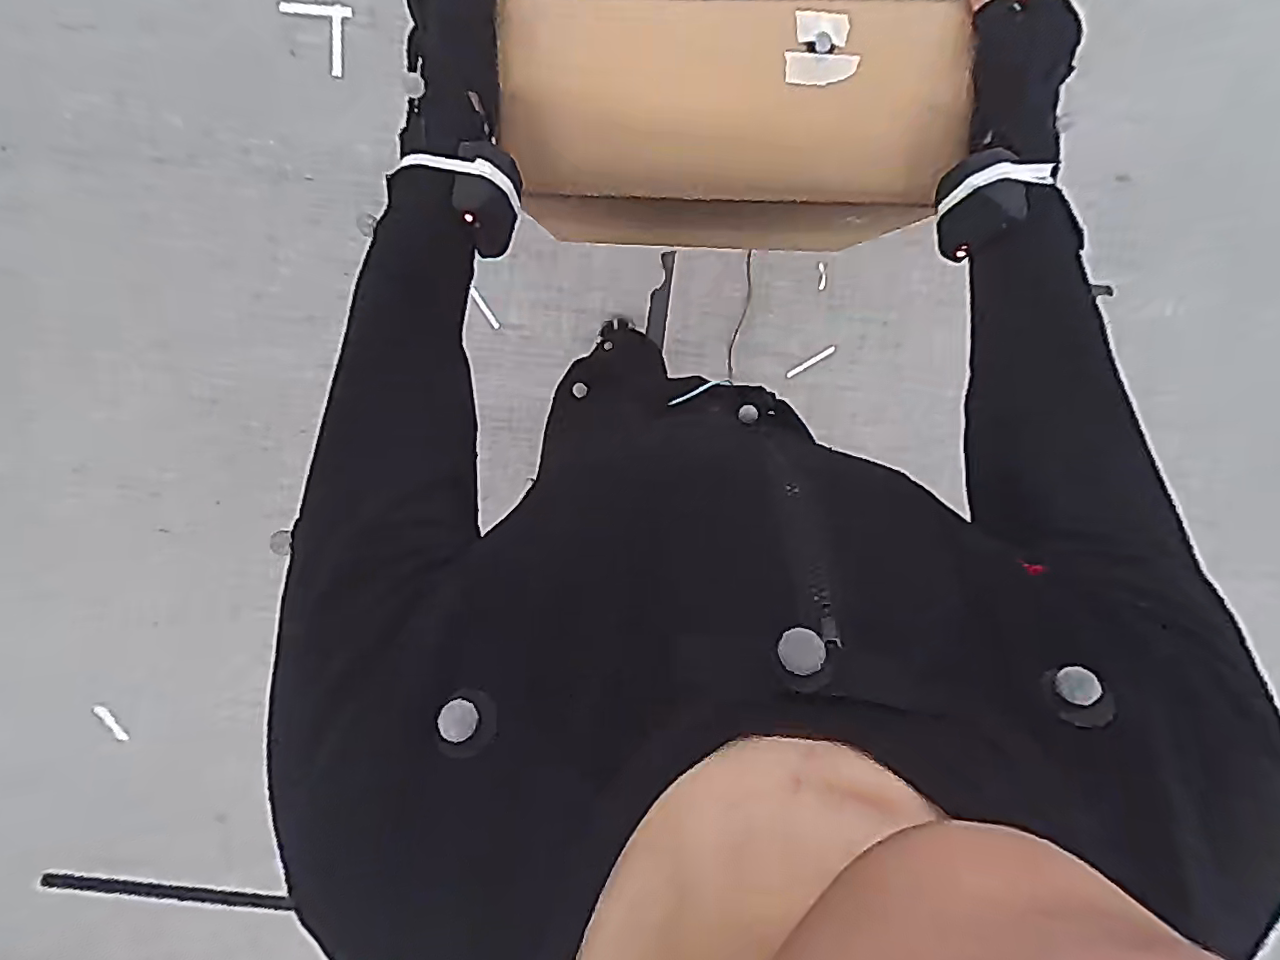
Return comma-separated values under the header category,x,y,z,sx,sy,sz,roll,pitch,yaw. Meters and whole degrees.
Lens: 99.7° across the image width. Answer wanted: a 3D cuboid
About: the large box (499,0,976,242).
category,x,y,z,sx,sy,sz,roll,pitch,yaw
large box,0.080,-0.448,0.587,0.408,0.320,0.320,1,107,0
